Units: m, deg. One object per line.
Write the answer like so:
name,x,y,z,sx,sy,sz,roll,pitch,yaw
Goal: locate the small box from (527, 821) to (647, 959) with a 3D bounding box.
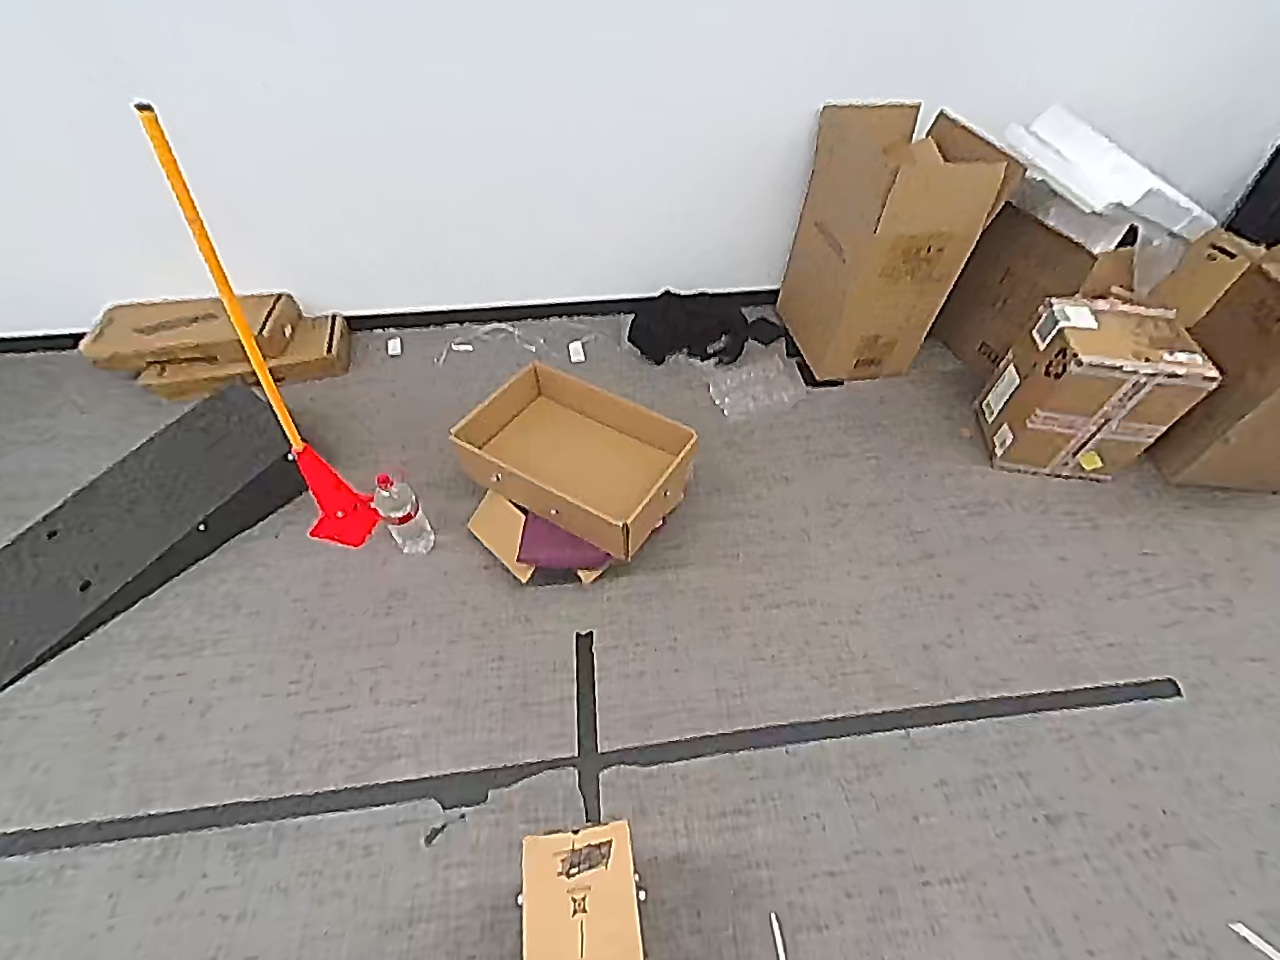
small box,-0.083,0.658,0.841,0.168,0.176,0.179,-6,51,-6
